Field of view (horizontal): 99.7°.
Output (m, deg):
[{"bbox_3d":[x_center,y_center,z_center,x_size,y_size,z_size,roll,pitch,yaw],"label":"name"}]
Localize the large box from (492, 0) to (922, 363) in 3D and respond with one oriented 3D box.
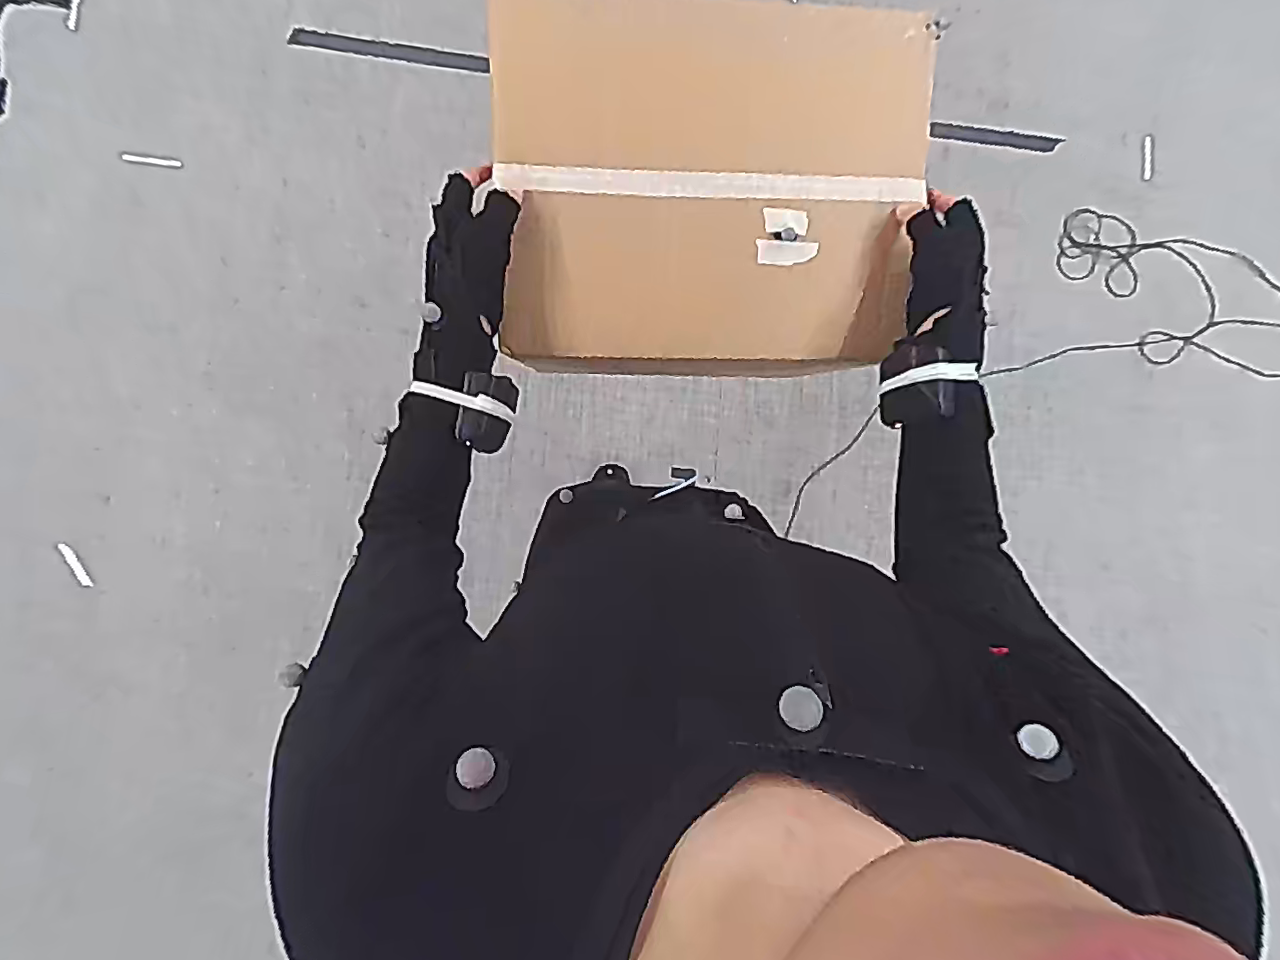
[{"bbox_3d":[0.053,-0.312,0.655,0.408,0.320,0.320,0,99,-5],"label":"large box"}]
